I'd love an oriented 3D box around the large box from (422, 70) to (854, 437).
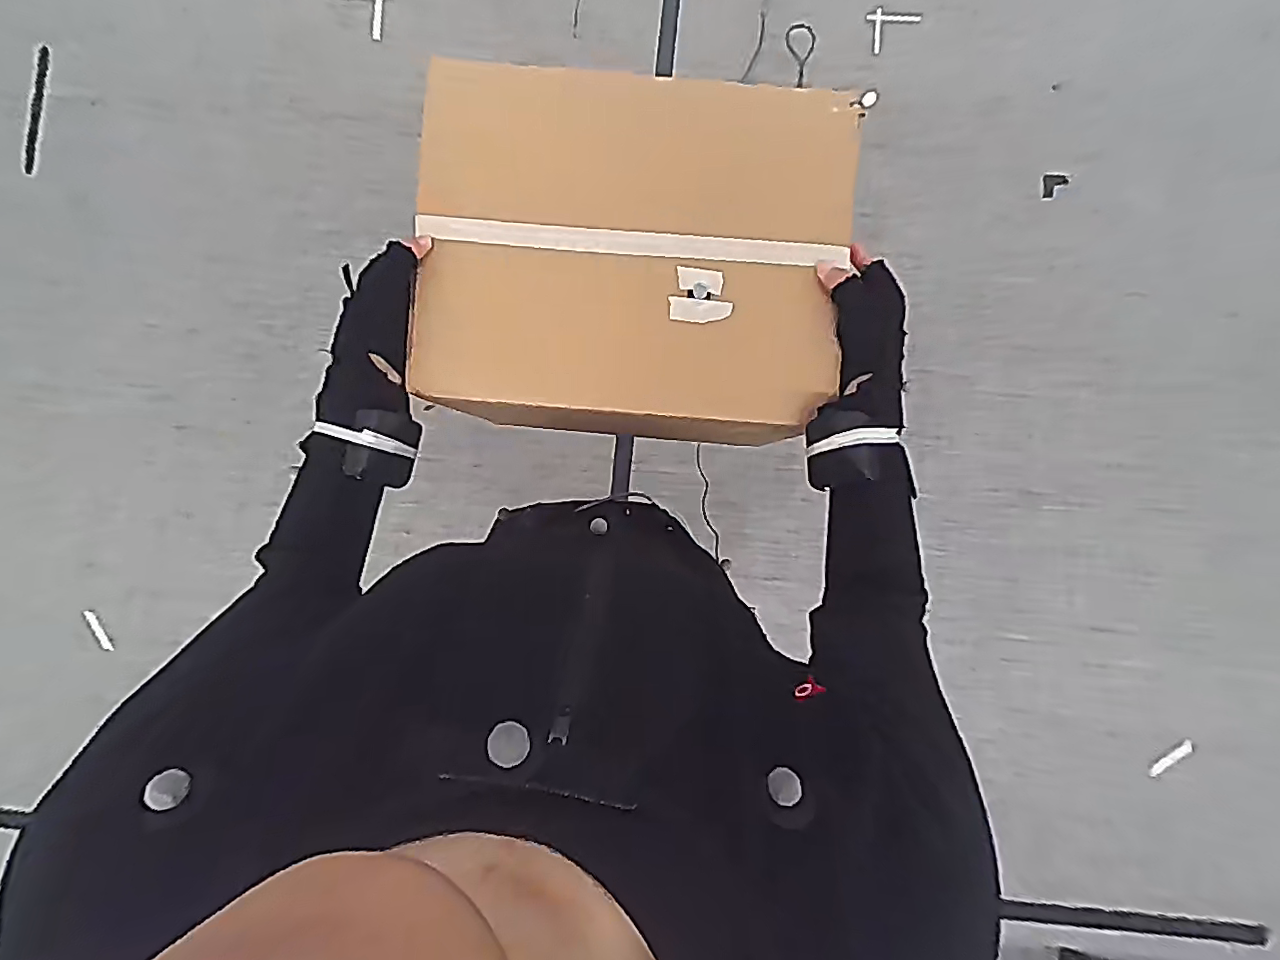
[{"bbox_3d":[-0.005,-0.227,0.667,0.408,0.320,0.320,5,92,-1],"label":"large box"}]
